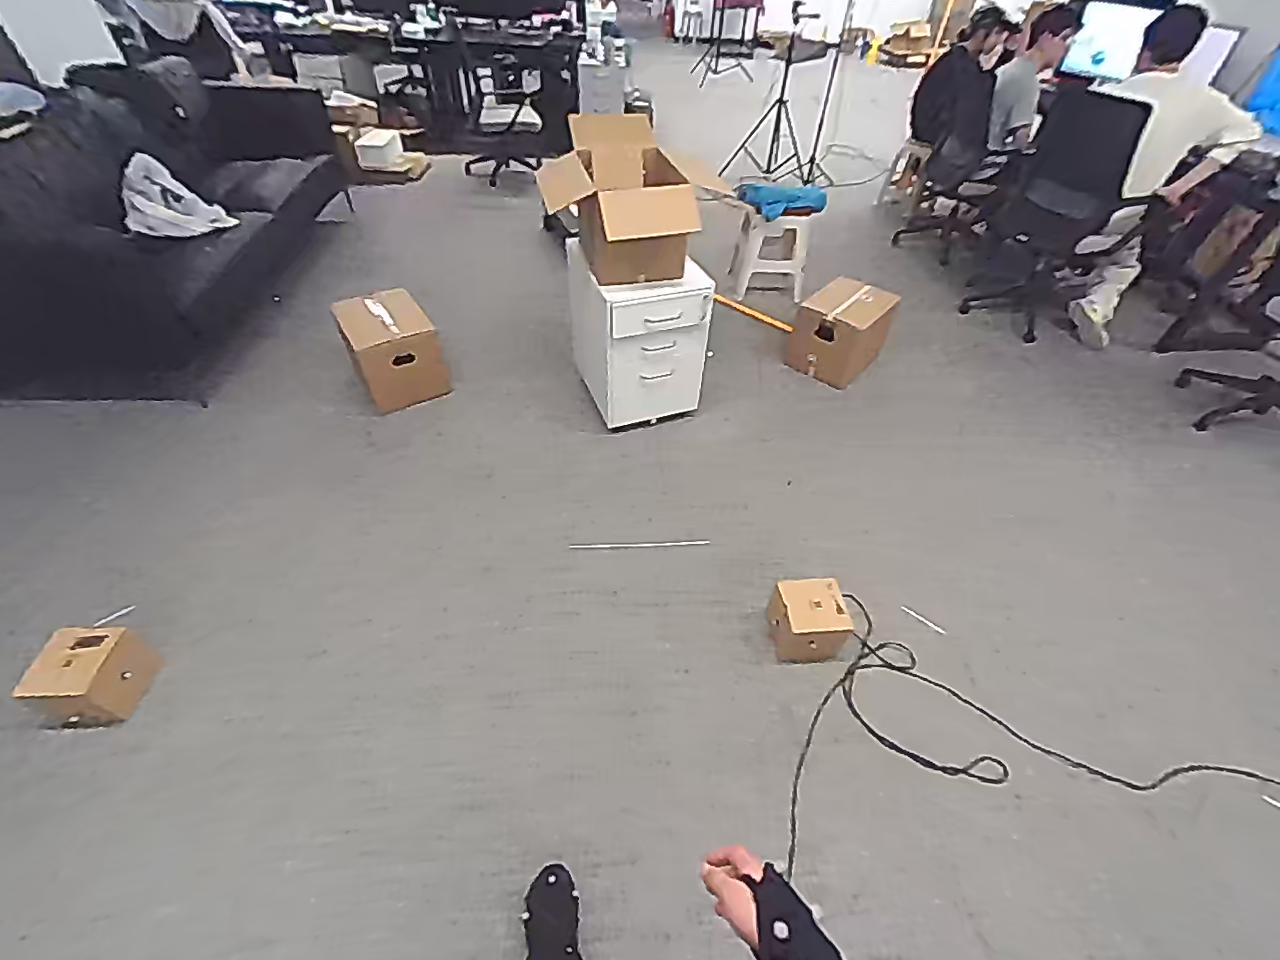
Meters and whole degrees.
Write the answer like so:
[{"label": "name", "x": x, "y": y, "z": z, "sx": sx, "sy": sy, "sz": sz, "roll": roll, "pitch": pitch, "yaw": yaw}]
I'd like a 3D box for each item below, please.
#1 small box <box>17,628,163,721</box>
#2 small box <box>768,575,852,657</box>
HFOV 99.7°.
[{"label": "small box", "x": -1.388, "y": 0.498, "z": 1.386, "sx": 0.168, "sy": 0.176, "sz": 0.179, "roll": 0, "pitch": 47, "yaw": -3}, {"label": "small box", "x": 0.477, "y": 0.395, "z": 1.558, "sx": 0.179, "sy": 0.176, "sz": 0.168, "roll": -3, "pitch": 47, "yaw": -4}]
